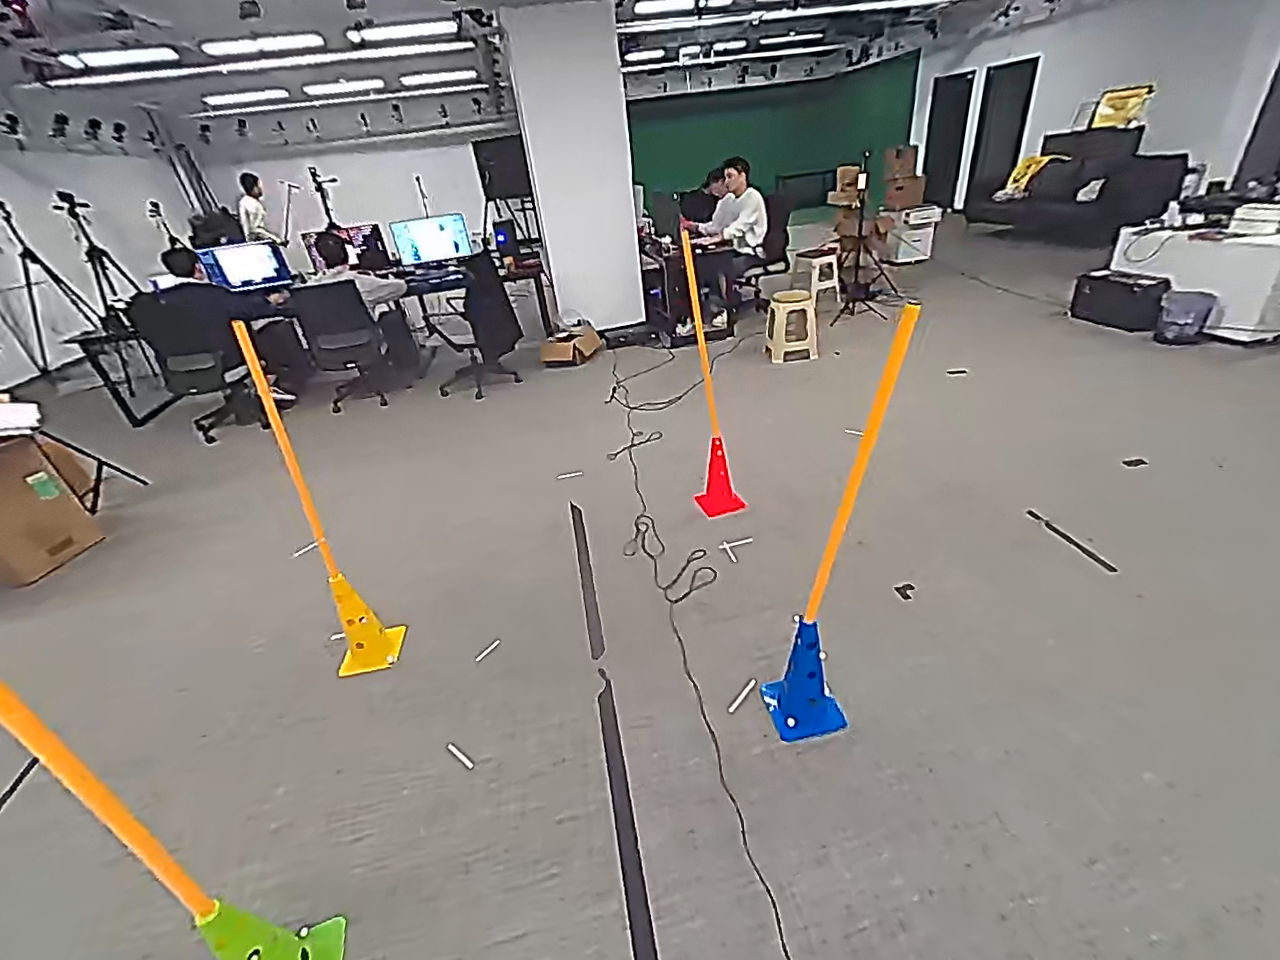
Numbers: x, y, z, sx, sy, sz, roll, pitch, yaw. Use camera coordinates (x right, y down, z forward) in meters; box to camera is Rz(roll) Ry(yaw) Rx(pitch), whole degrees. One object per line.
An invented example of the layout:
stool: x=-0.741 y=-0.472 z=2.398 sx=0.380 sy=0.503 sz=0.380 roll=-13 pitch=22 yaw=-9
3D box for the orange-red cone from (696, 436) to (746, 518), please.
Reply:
orange-red cone: x=0.359 y=-0.034 z=2.475 sx=0.199 sy=0.360 sz=0.198 roll=-15 pitch=30 yaw=-10

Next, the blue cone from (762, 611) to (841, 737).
blue cone: x=0.459 y=0.526 z=1.521 sx=0.193 sy=0.380 sz=0.192 roll=-10 pitch=29 yaw=-4

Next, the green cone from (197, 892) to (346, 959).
green cone: x=-0.764 y=0.938 z=1.075 sx=0.200 sy=0.368 sz=0.202 roll=-17 pitch=29 yaw=-16
